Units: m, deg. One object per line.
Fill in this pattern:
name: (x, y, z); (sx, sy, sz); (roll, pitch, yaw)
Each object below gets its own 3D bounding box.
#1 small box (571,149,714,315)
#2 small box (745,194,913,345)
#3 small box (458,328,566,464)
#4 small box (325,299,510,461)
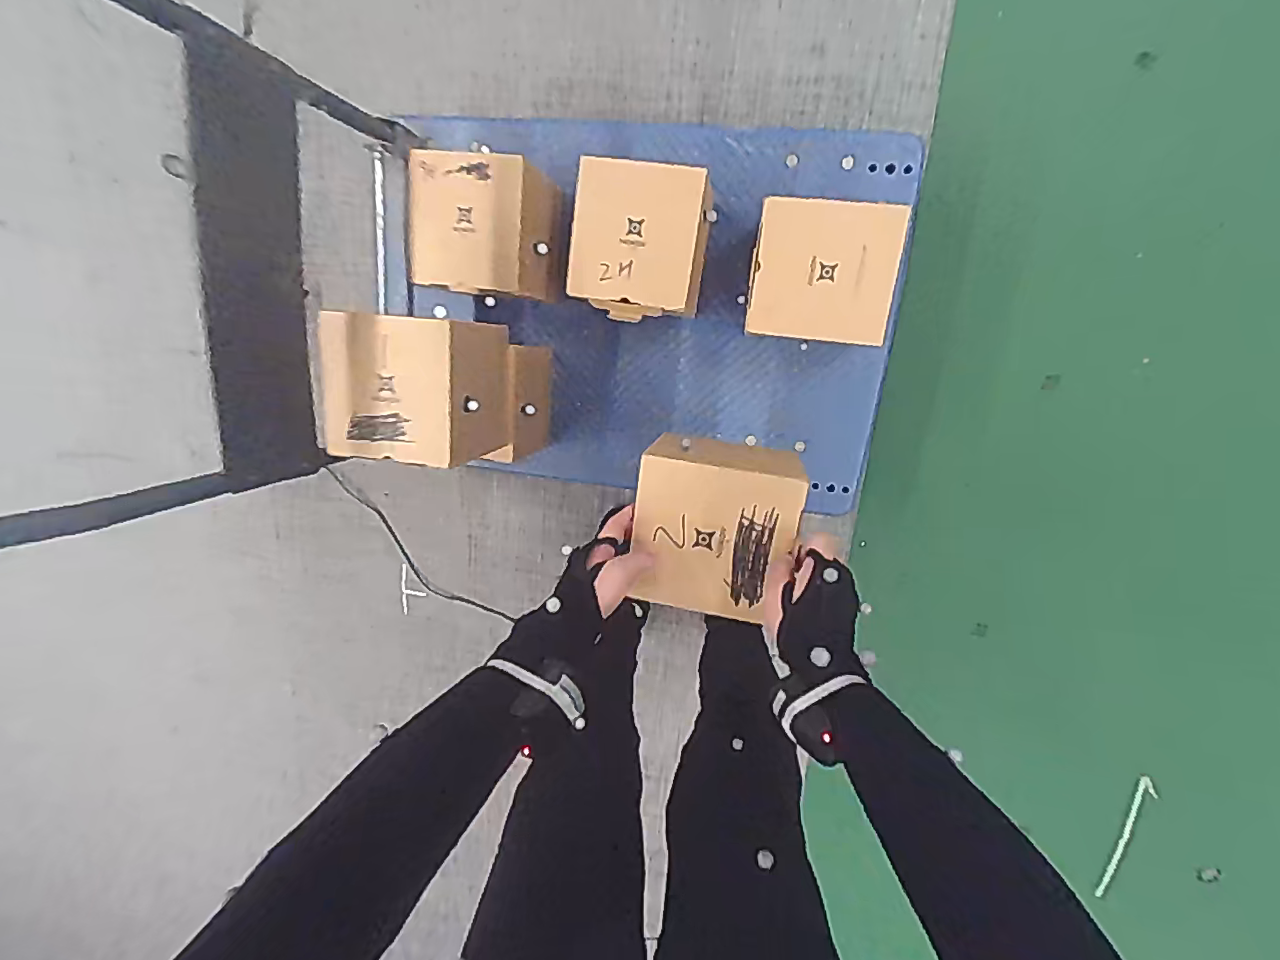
small box: (0.011, -0.345, 0.782); (0.168, 0.176, 0.179); (12, 106, 8)
small box: (0.247, -0.282, 0.754); (0.179, 0.176, 0.168); (10, 106, 8)
small box: (-0.253, -0.153, 0.887); (0.179, 0.176, 0.168); (38, 109, 1)
small box: (-0.283, -0.135, 0.717); (0.168, 0.176, 0.179); (8, 104, 8)
